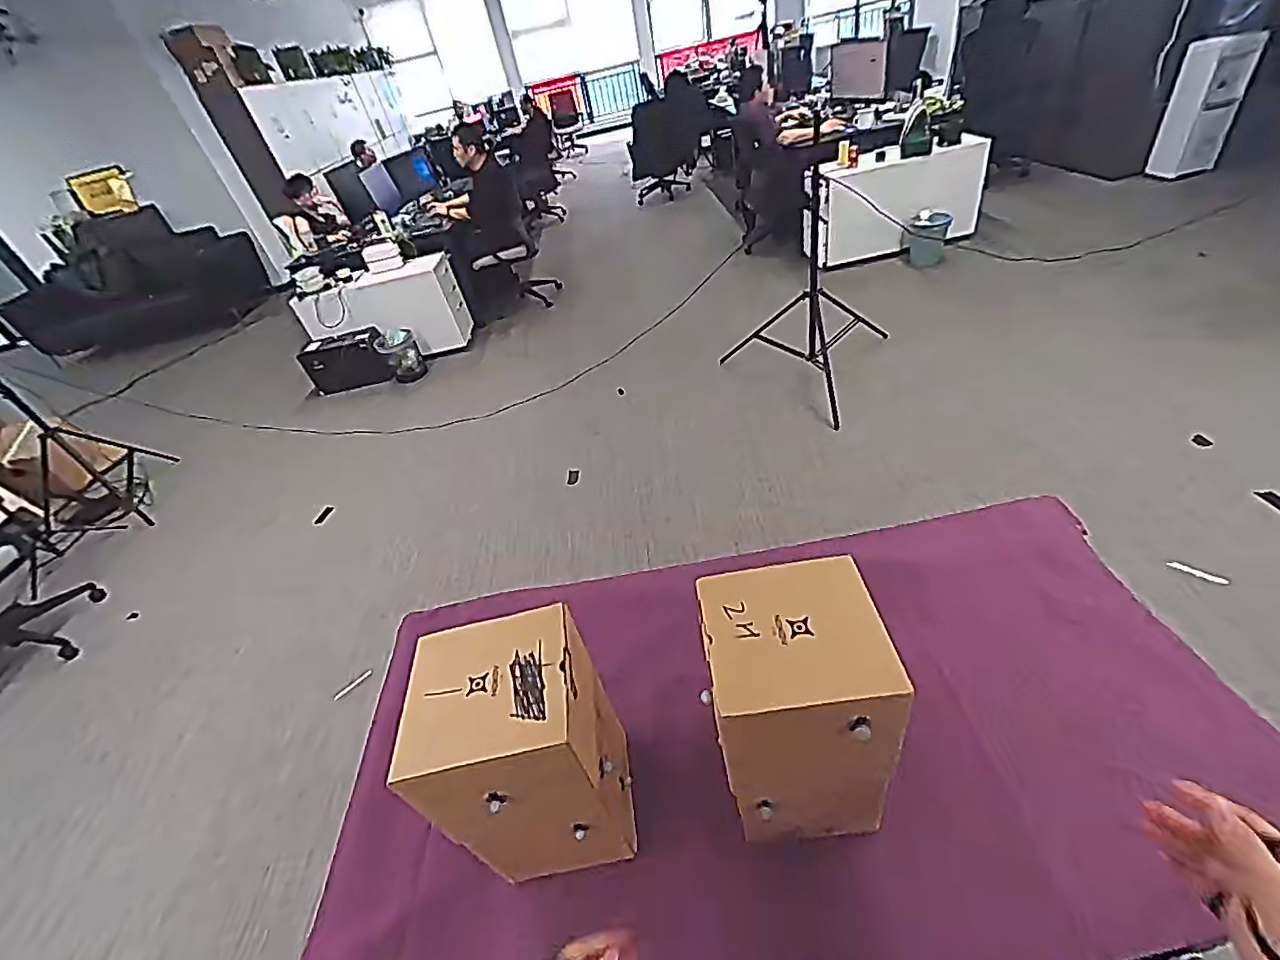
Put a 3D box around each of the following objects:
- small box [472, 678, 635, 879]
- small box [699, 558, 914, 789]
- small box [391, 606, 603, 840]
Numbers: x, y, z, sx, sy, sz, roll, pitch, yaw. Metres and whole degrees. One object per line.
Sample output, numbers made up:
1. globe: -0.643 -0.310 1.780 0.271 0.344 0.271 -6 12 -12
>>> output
1. small box: -0.114 0.397 0.717 0.179 0.176 0.168 -13 38 1
2. small box: 0.167 0.211 0.589 0.179 0.176 0.168 -10 38 6
3. small box: -0.143 0.274 0.611 0.179 0.176 0.168 -13 38 1
